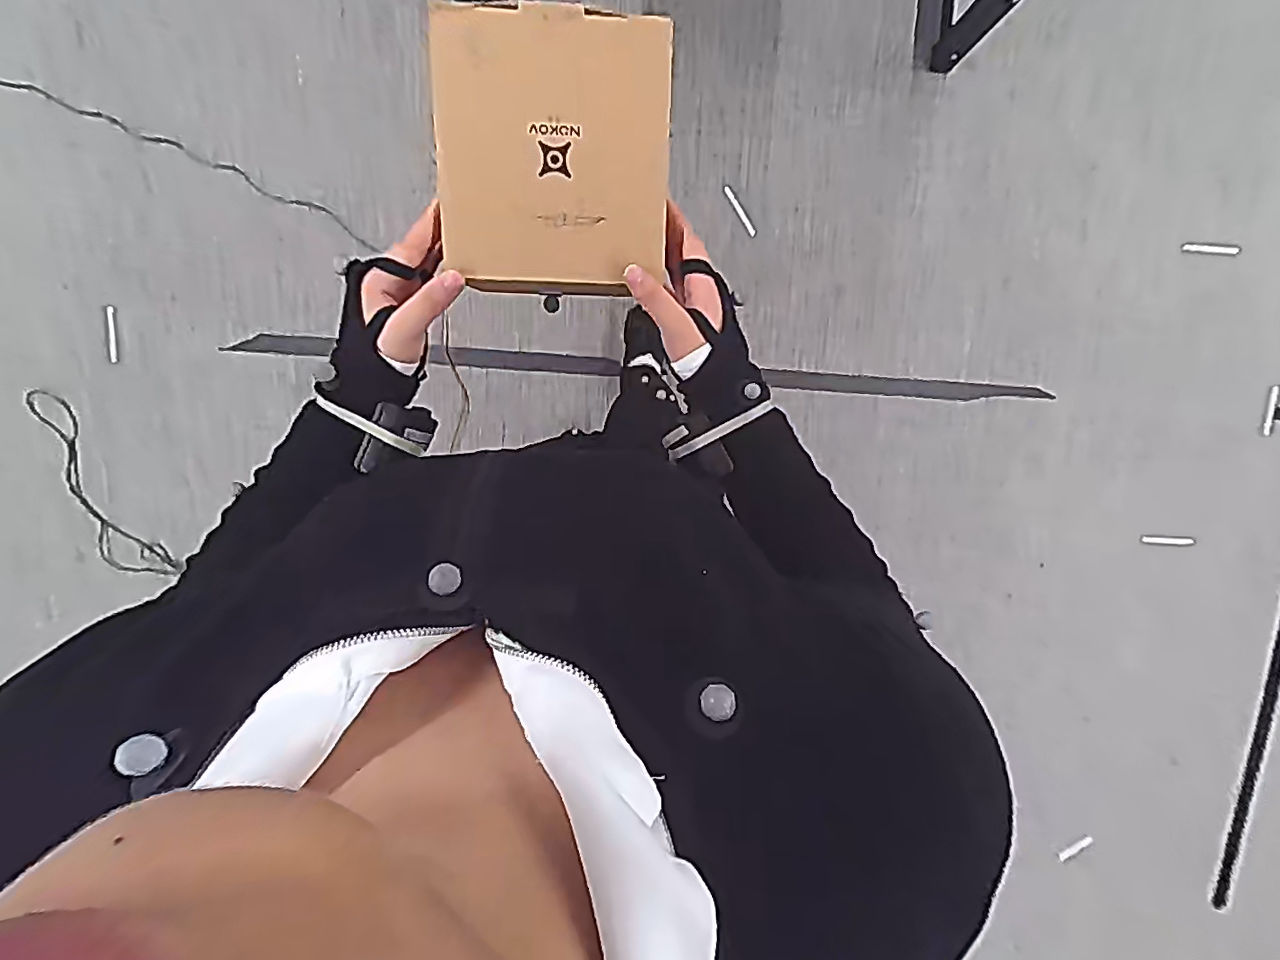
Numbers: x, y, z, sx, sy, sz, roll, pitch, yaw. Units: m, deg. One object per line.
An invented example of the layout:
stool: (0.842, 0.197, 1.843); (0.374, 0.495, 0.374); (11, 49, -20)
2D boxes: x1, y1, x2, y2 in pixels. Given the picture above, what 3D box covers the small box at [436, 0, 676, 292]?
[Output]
small box: (-0.066, -0.263, 0.464); (0.168, 0.176, 0.179); (0, 105, -5)
